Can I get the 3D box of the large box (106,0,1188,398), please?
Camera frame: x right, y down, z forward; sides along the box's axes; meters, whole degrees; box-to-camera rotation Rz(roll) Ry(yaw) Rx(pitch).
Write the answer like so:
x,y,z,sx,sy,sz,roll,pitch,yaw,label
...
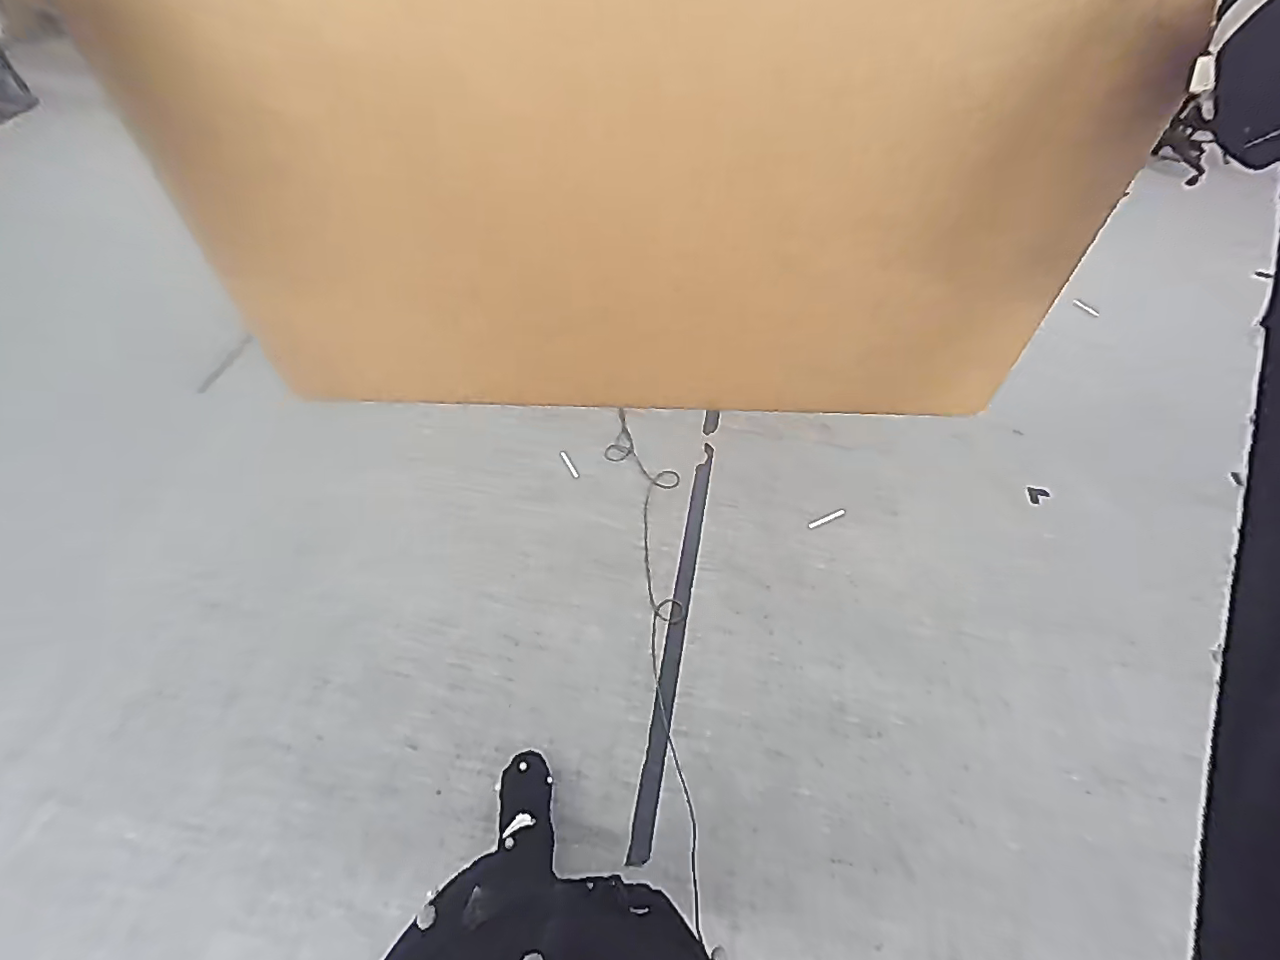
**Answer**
x,y,z,sx,sy,sz,roll,pitch,yaw,label
0.001,-0.262,0.317,0.408,0.320,0.320,2,49,-1,large box
